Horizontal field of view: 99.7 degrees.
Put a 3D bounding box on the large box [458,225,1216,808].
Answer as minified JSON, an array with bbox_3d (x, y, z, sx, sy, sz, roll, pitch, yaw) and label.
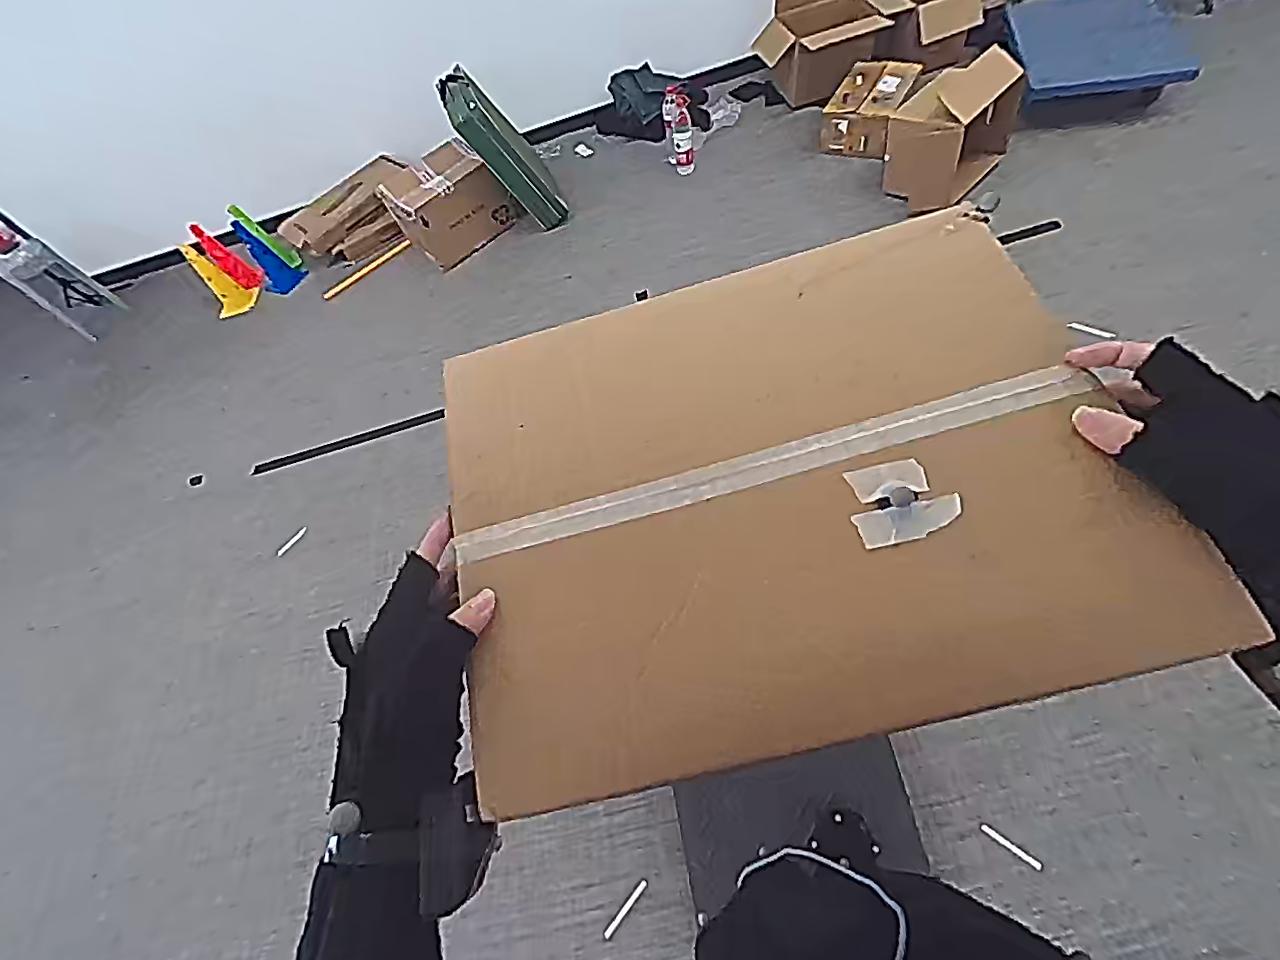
[{"bbox_3d":[0.102,0.054,0.488,0.408,0.320,0.320,-16,66,3],"label":"large box"}]
